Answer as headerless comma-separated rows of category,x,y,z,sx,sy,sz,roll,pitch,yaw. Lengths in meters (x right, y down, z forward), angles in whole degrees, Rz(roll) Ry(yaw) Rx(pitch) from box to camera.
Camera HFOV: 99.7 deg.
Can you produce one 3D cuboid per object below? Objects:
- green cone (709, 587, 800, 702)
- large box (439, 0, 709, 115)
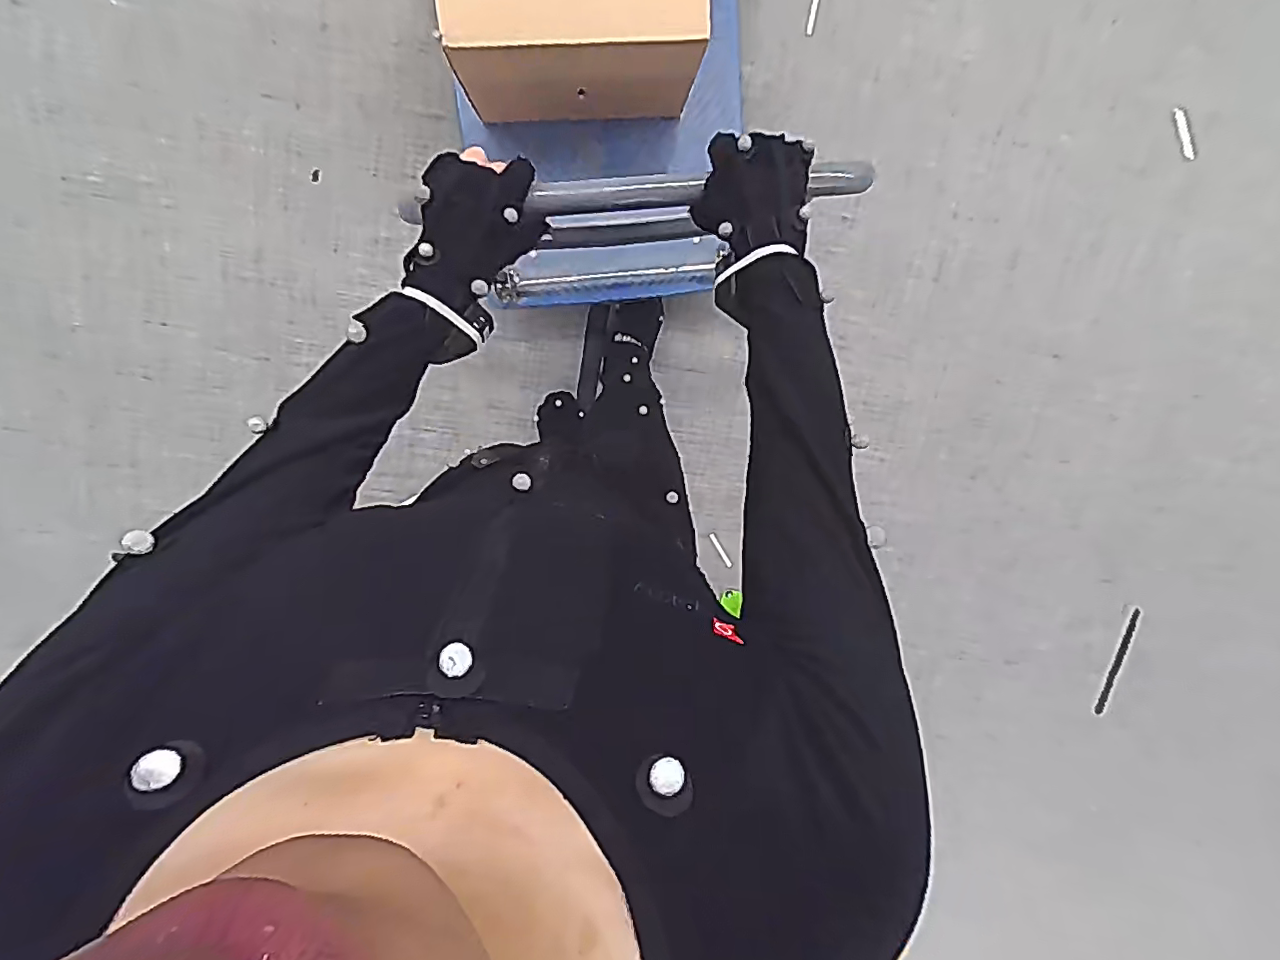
green cone,0.337,0.466,1.451,0.202,0.368,0.200,11,104,-9
large box,-0.111,-0.849,0.910,0.408,0.320,0.320,-4,106,-3
